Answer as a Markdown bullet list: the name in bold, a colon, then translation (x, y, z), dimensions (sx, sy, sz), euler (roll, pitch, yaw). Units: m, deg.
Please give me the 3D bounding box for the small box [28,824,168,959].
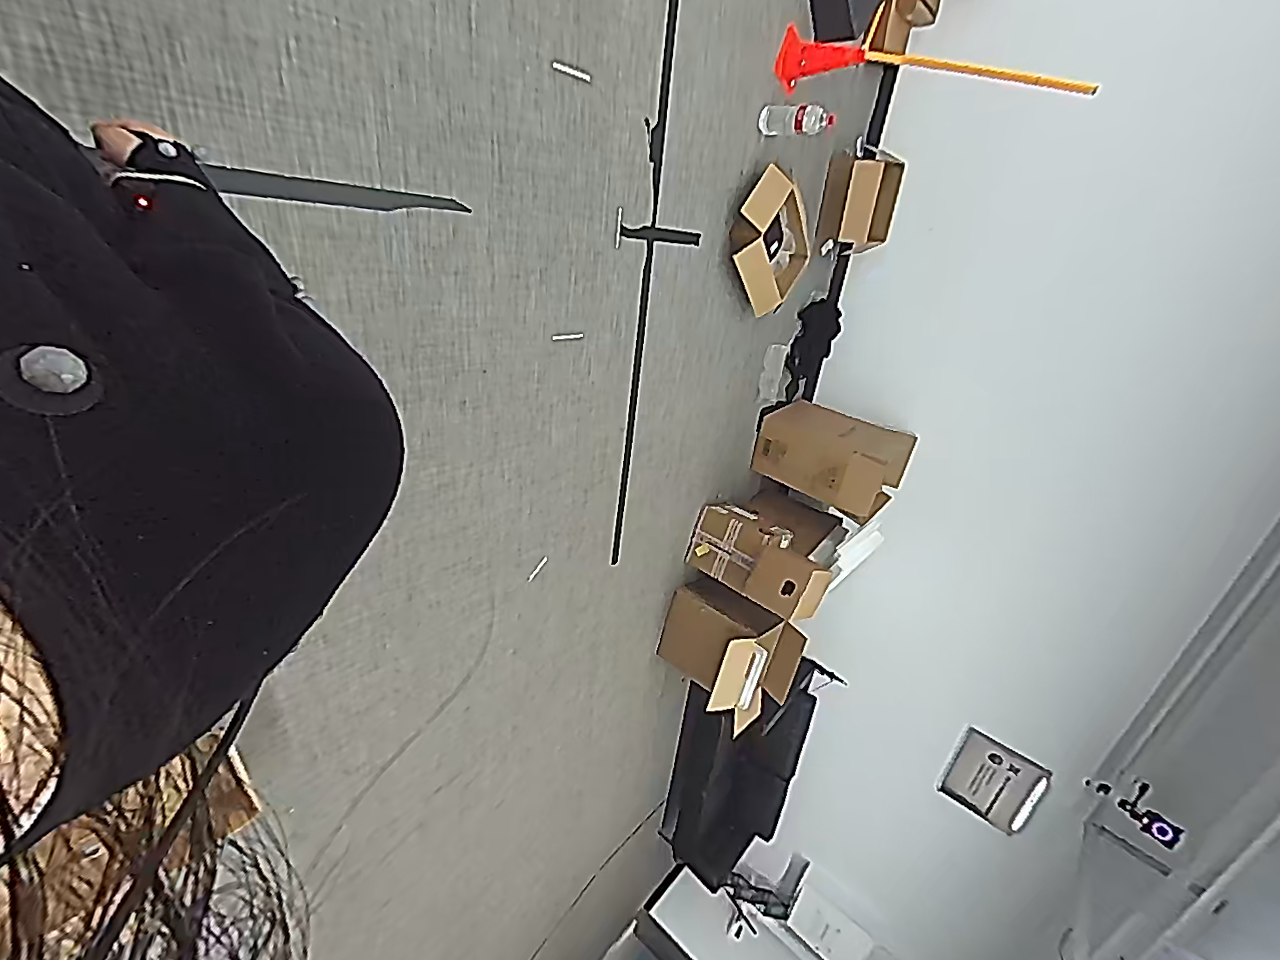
- **small box**: translation (-1.194, 0.916, 1.196), dimensions (0.168, 0.176, 0.179), euler (-27, 132, -43)
